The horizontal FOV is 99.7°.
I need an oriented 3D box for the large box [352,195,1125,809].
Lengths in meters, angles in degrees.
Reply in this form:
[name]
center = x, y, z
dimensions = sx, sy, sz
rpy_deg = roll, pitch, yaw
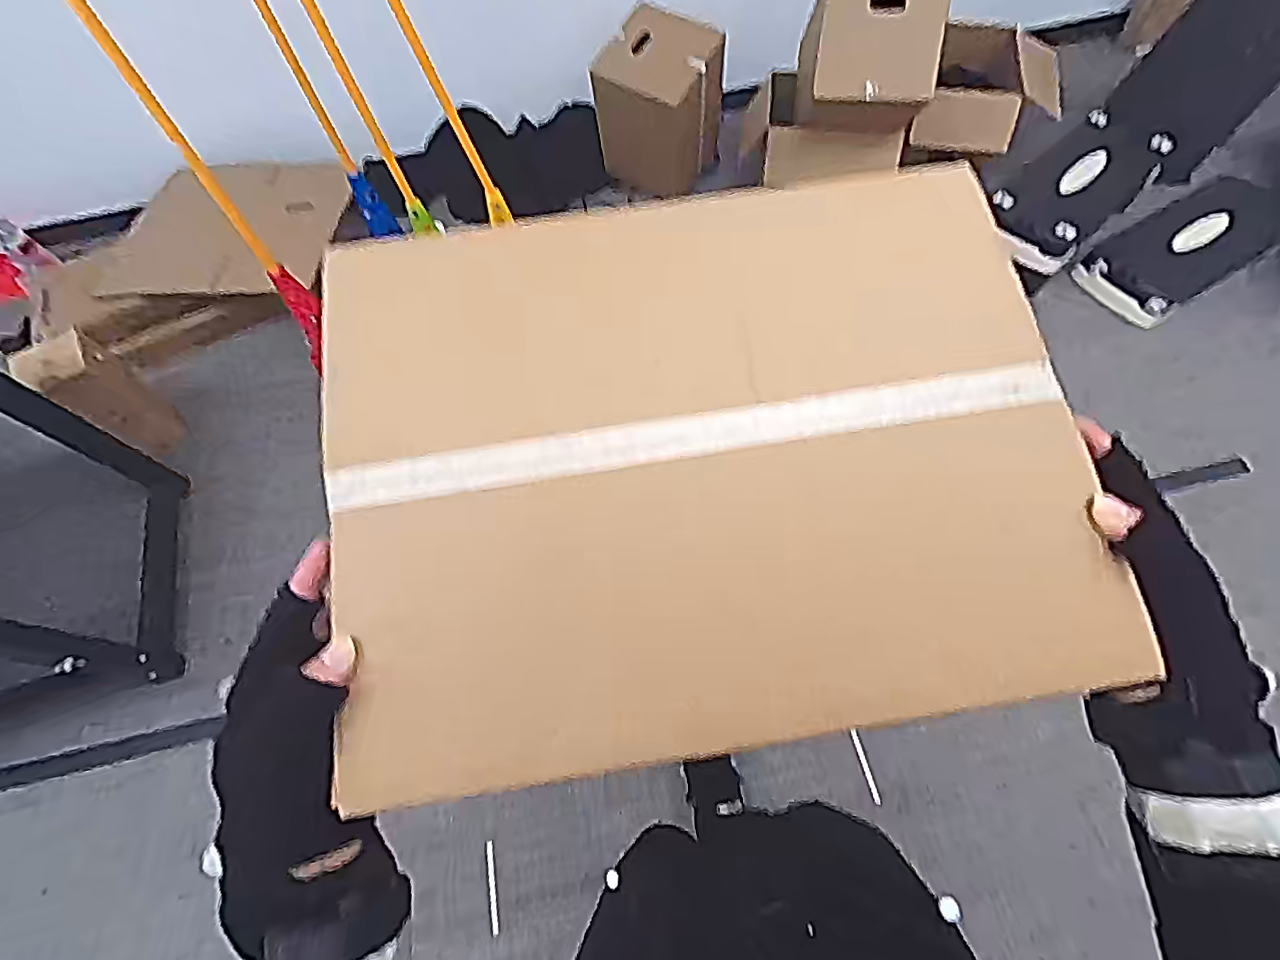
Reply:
[large box]
center = 0.035, 0.027, 0.458
dimensions = 0.408, 0.320, 0.320
rpy_deg = -9, 75, -2
